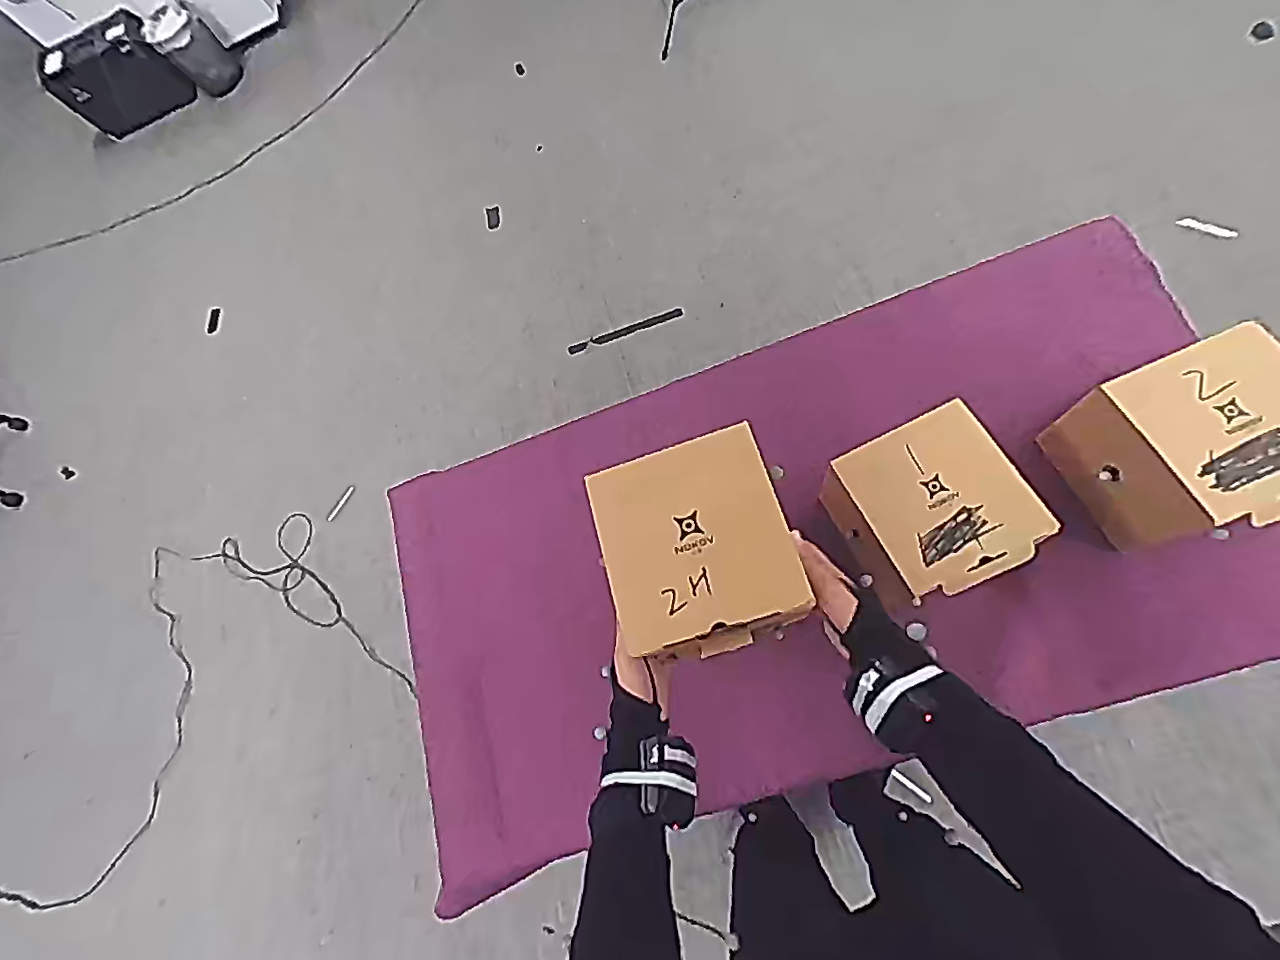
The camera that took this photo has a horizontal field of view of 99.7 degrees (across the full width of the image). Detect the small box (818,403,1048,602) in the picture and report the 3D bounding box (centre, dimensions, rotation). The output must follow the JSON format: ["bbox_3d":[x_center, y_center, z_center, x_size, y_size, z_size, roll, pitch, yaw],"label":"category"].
[{"bbox_3d":[0.340,0.041,0.672,0.168,0.176,0.179,-27,69,5],"label":"small box"}]

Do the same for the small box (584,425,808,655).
[{"bbox_3d":[0.059,0.073,0.556,0.168,0.176,0.179,-19,70,8],"label":"small box"}]
